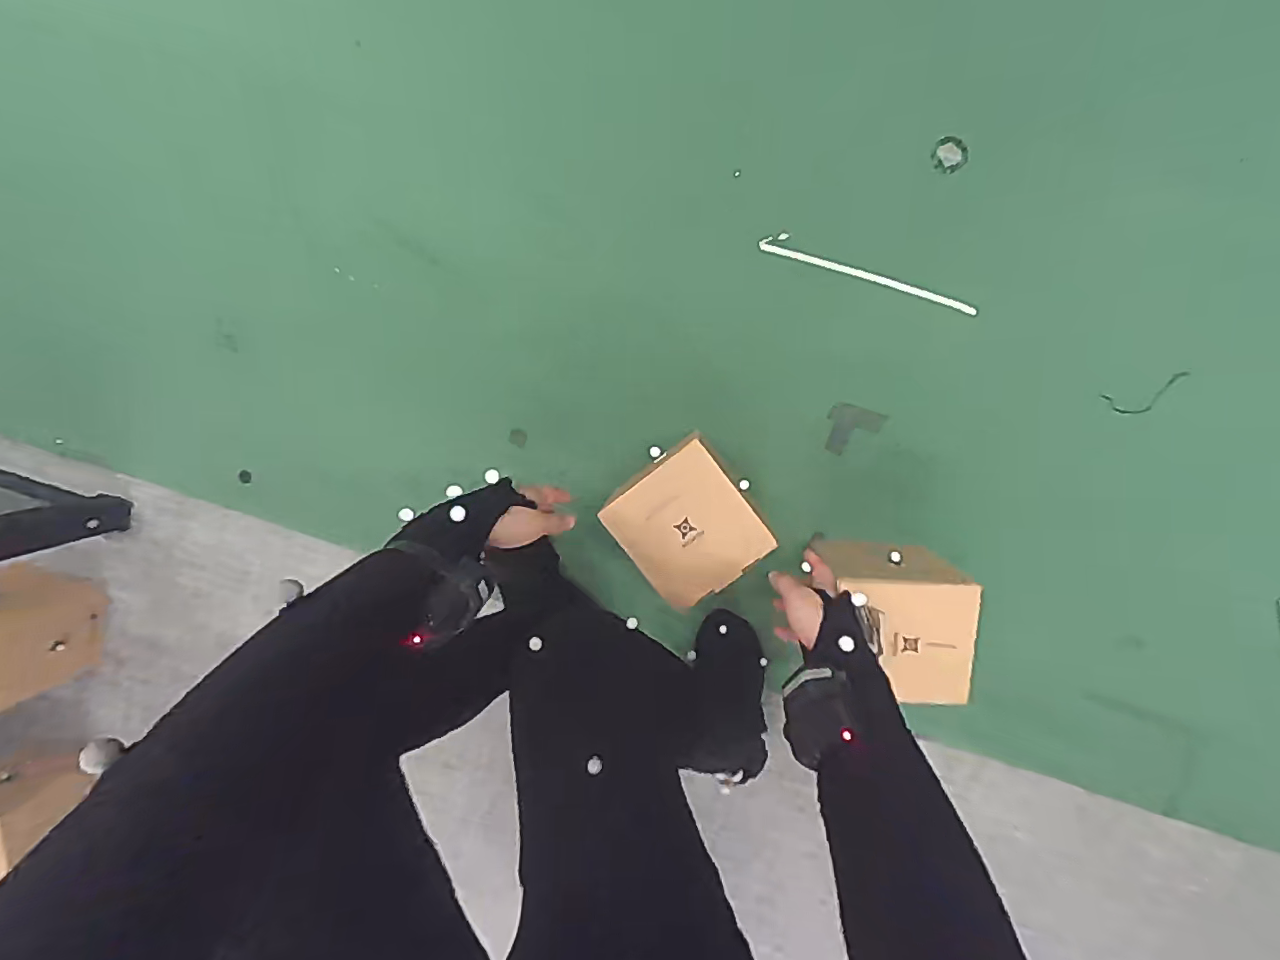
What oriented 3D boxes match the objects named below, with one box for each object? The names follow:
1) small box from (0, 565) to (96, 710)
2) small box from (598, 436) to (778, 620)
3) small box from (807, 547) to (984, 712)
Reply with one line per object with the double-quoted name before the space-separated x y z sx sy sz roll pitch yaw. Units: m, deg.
"small box" -1.082 0.259 0.915 0.179 0.176 0.168 13 101 3
"small box" 0.068 0.055 0.762 0.168 0.176 0.179 -37 94 10
"small box" 0.341 0.198 0.761 0.179 0.176 0.168 2 101 5
